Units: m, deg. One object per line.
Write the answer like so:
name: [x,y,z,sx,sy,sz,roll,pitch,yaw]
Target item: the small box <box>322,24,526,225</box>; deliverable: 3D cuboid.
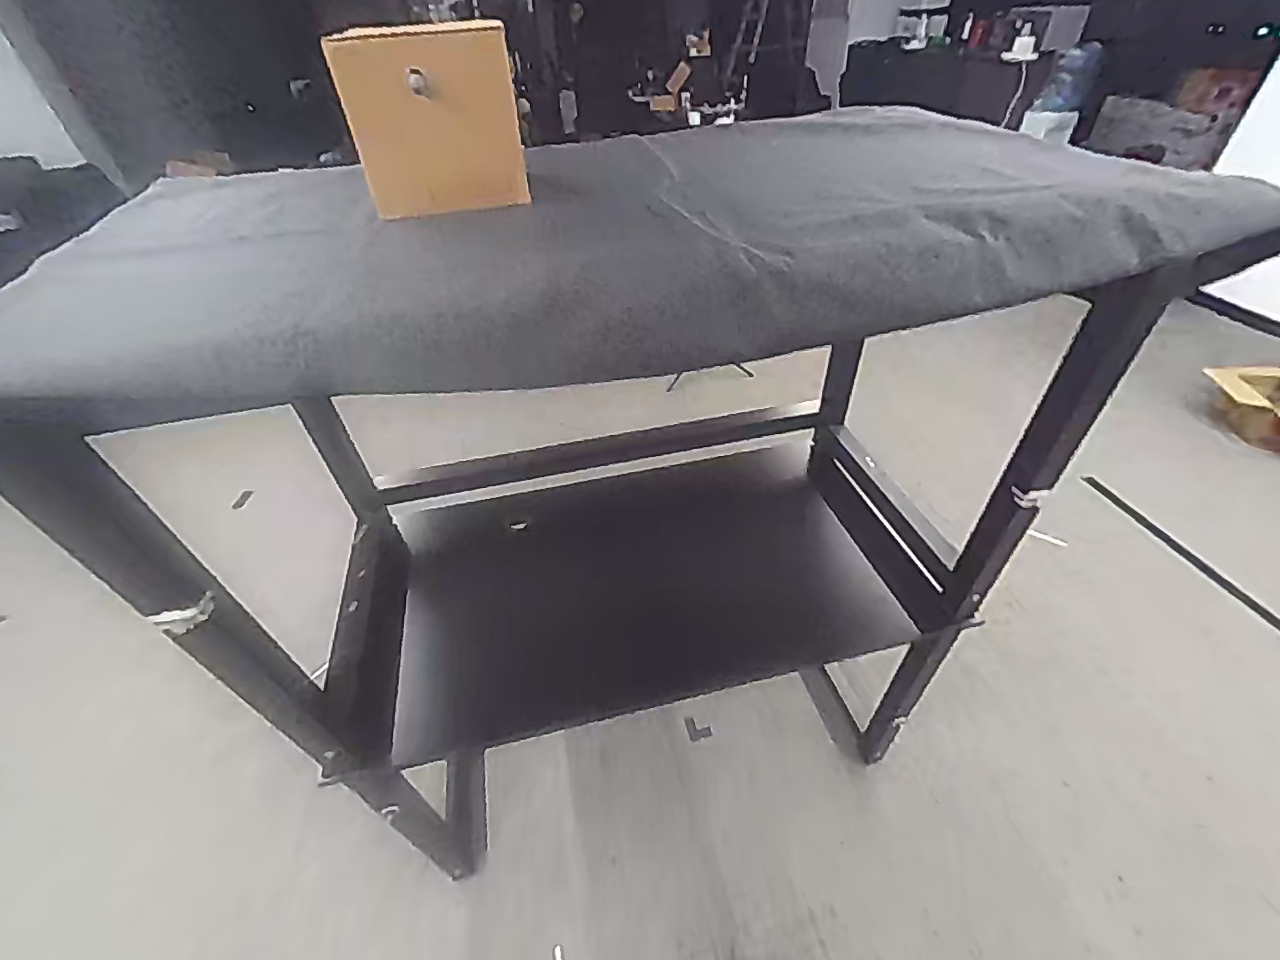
small box: [-0.235,-0.422,0.641,0.179,0.176,0.168,-11,43,-7]
